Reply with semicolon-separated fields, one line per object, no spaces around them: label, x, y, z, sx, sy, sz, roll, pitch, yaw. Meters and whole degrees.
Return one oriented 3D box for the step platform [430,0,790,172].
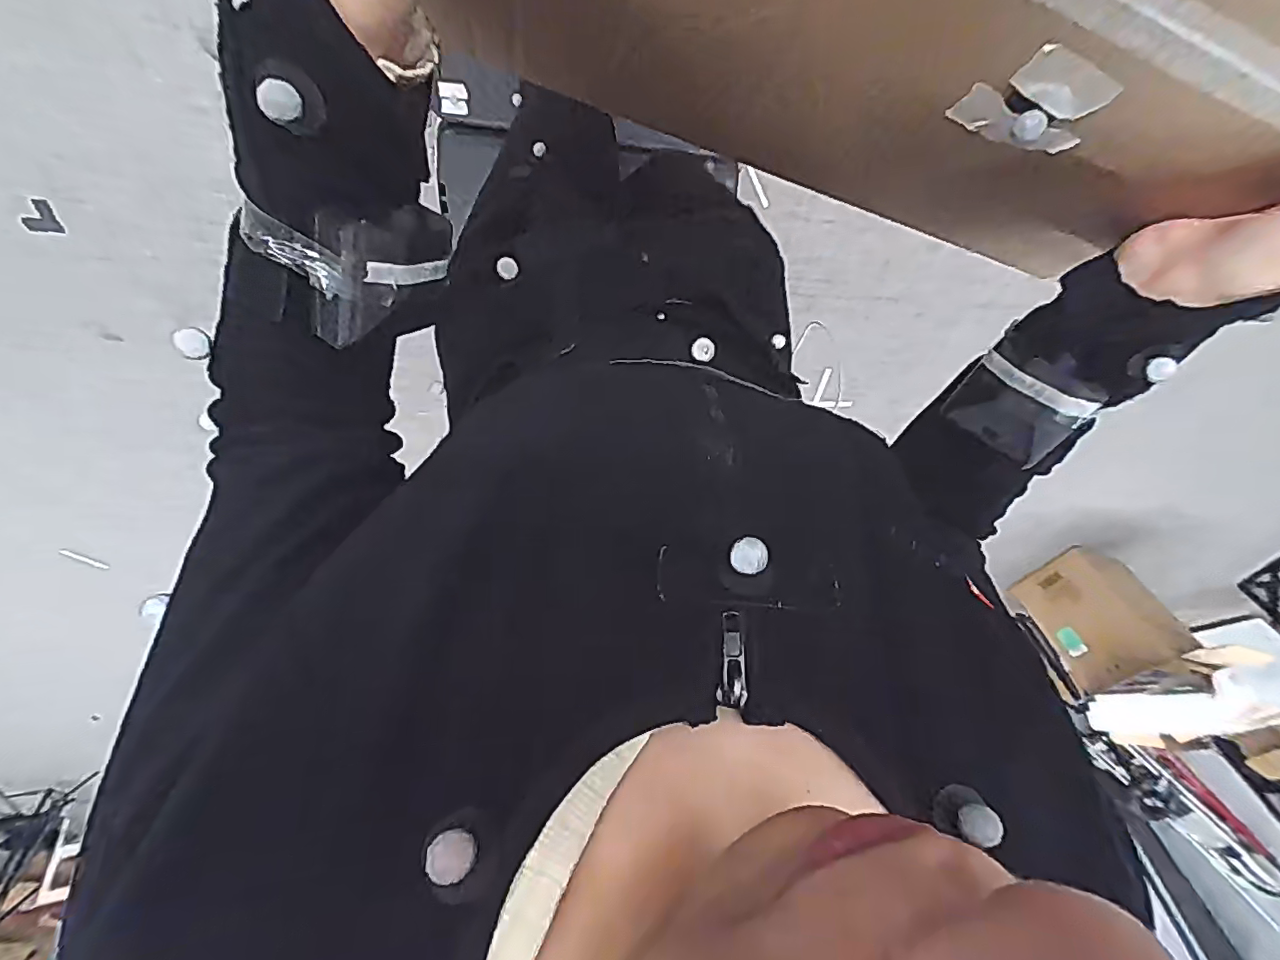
step platform;-0.027;-0.808;1.003;0.684;0.204;0.286;3;134;-17
